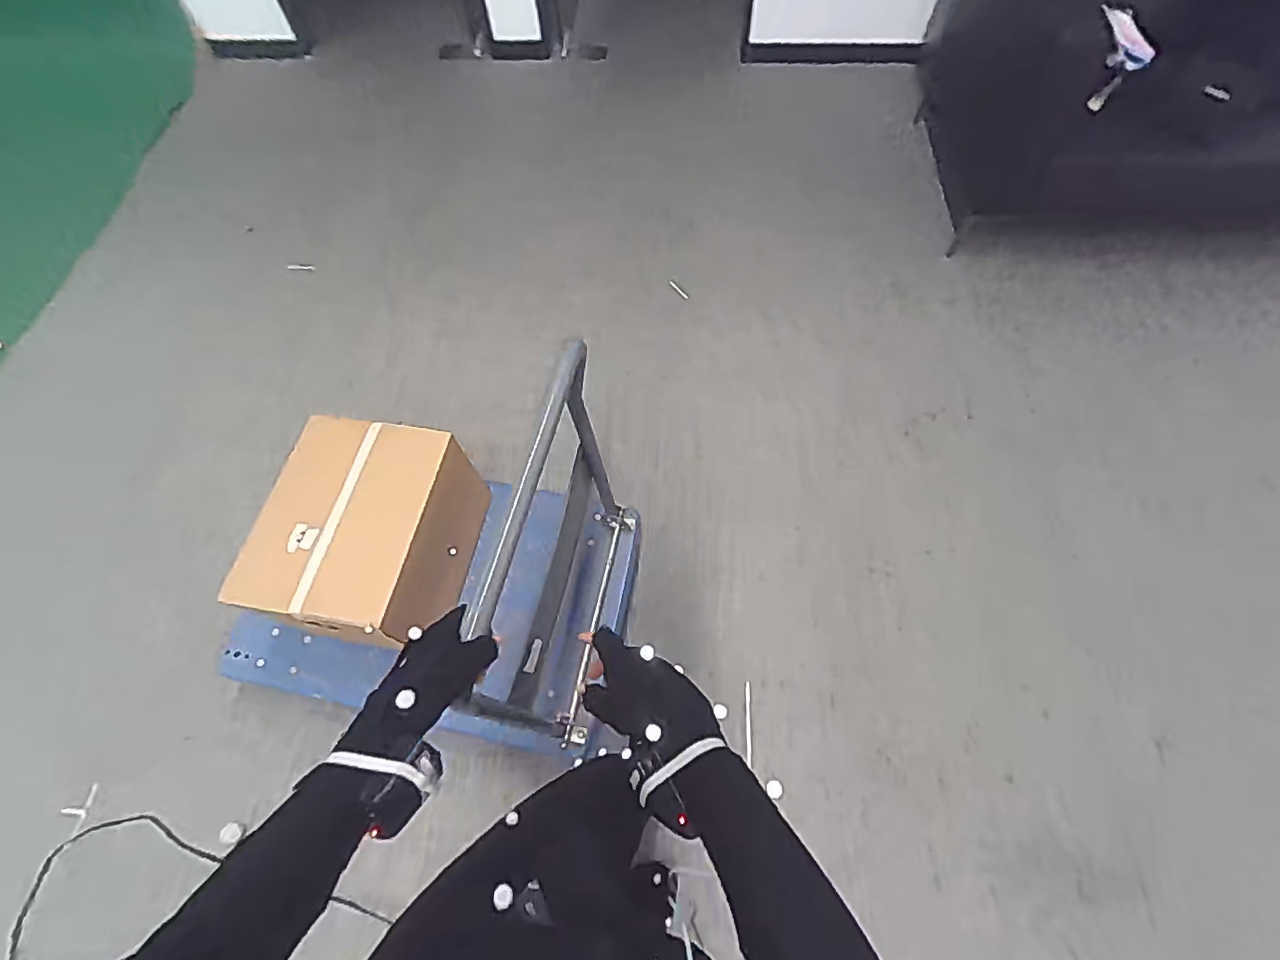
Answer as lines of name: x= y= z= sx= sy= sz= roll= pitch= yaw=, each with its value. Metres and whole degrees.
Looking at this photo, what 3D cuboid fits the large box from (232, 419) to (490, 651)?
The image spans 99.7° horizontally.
large box: x=-0.560 y=0.127 z=1.184 sx=0.320 sy=0.320 sz=0.408 roll=7 pitch=65 yaw=6
